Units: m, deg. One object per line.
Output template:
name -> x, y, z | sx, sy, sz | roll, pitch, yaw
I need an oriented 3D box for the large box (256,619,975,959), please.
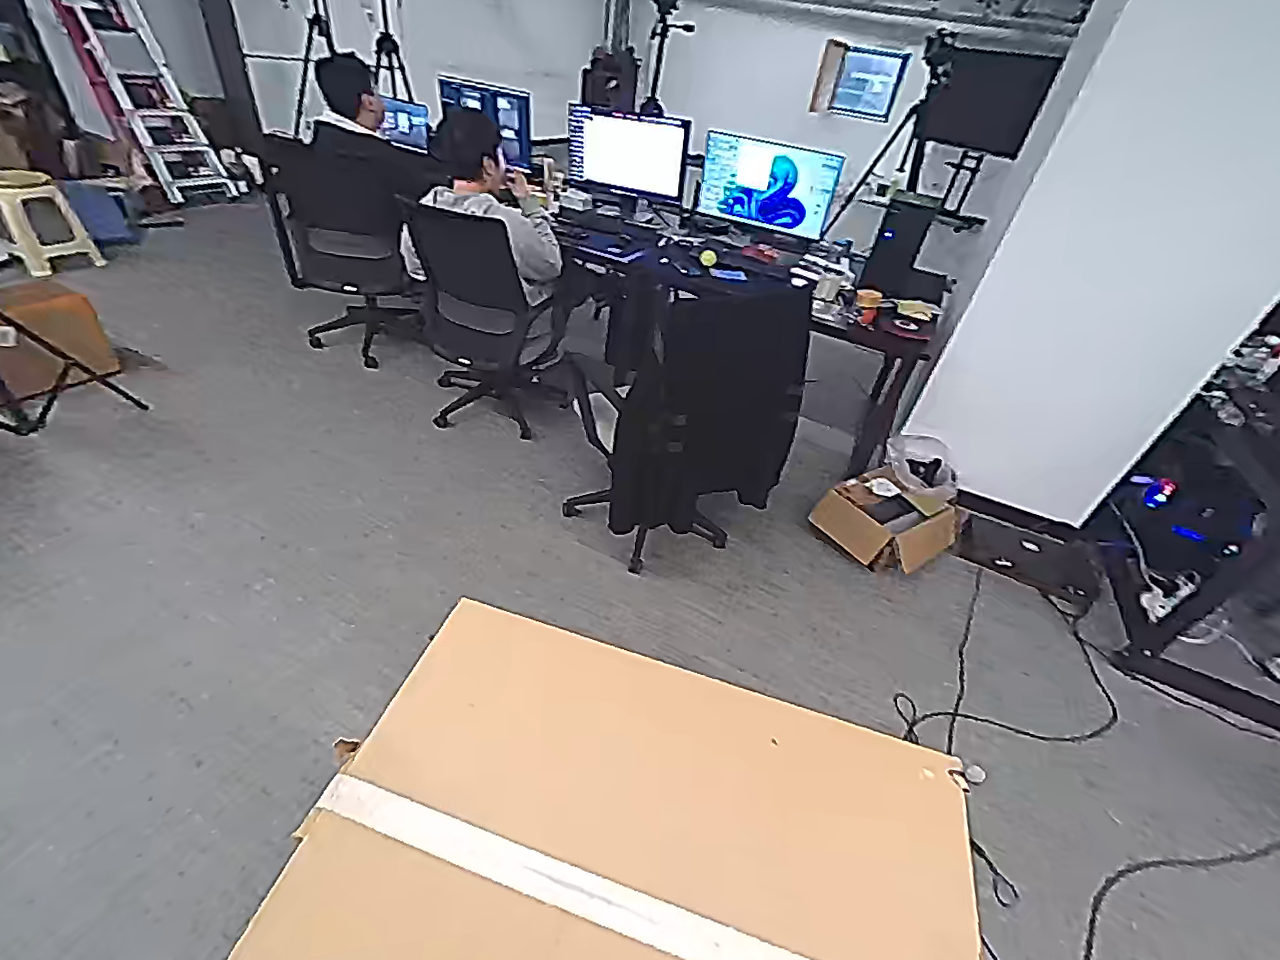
large box -> -0.015, 0.369, 0.430 | 0.408, 0.320, 0.320 | 15, 47, 9
